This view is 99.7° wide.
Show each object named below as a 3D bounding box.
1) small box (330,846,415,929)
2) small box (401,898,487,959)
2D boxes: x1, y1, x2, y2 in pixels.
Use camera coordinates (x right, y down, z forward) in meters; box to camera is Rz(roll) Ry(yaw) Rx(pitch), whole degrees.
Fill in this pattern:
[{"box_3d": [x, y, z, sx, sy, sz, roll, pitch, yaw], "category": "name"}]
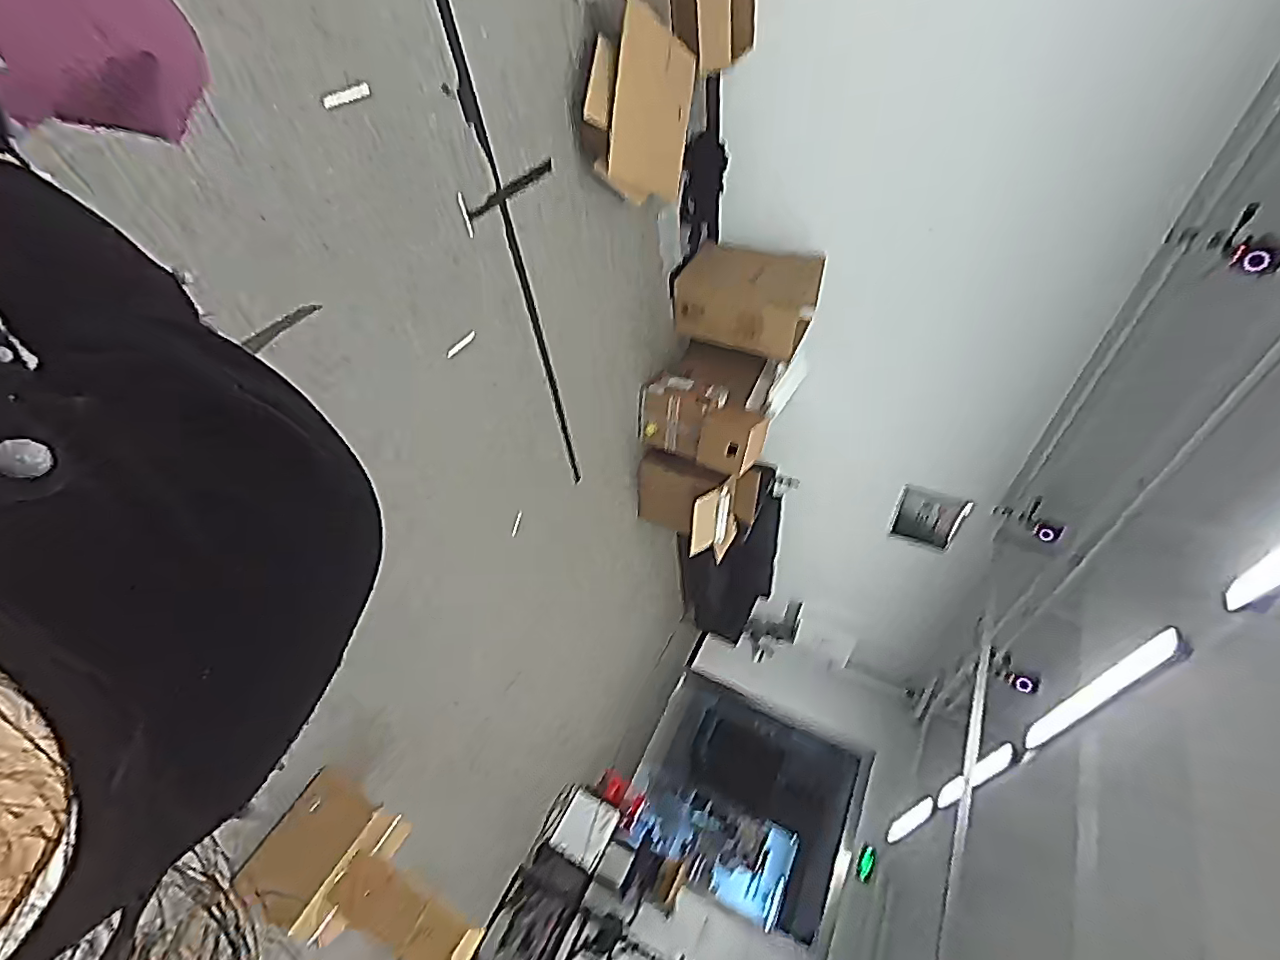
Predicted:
[{"box_3d": [-0.939, 1.428, 1.899, 0.179, 0.176, 0.168, -56, 152, -32], "category": "small box"}, {"box_3d": [-0.646, 1.522, 1.786, 0.168, 0.176, 0.179, -56, 152, -33], "category": "small box"}]
